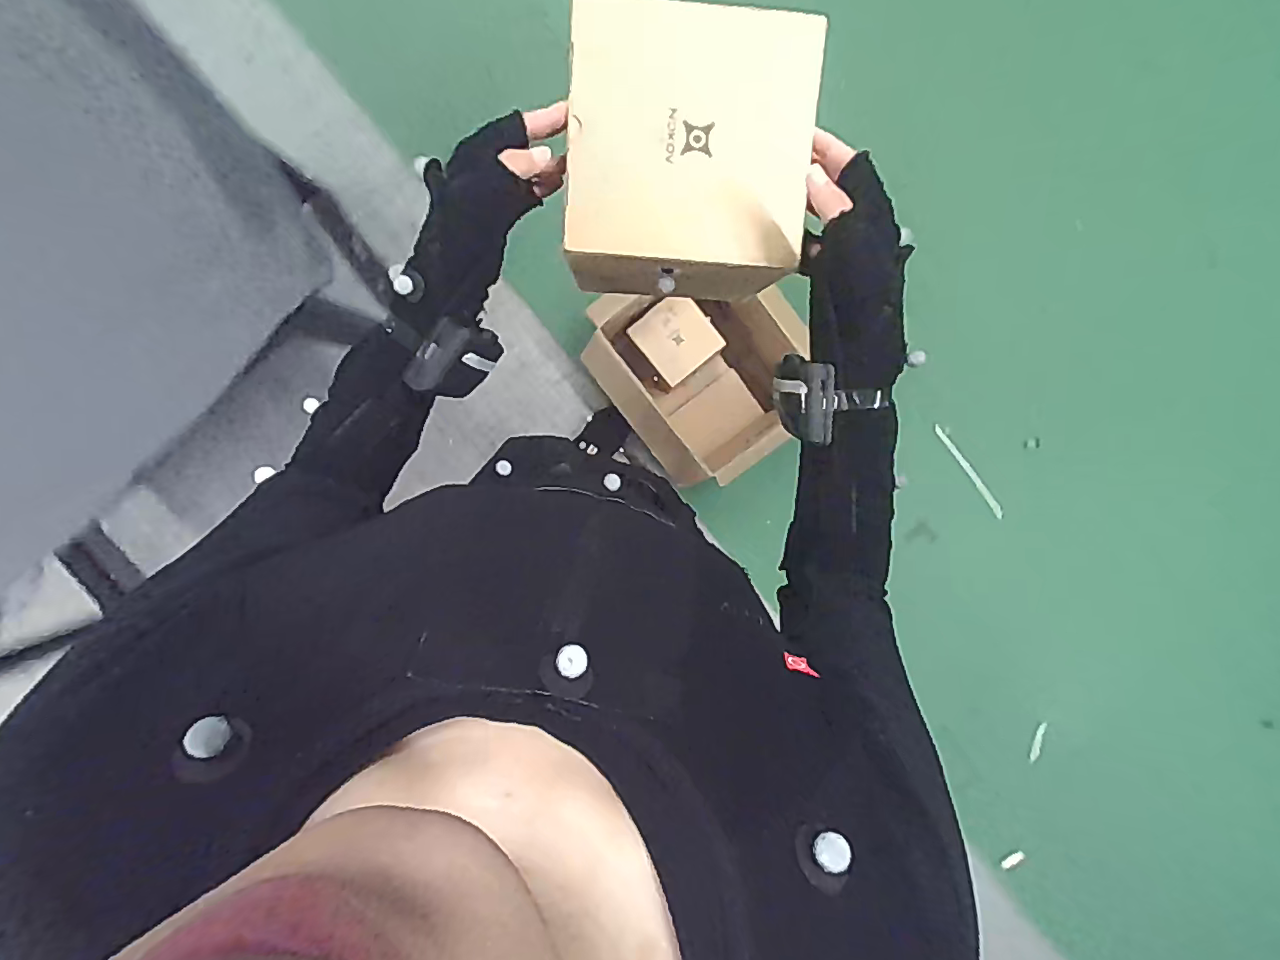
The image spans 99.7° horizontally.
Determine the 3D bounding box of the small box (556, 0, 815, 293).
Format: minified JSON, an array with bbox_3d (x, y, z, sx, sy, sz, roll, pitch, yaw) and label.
[{"bbox_3d":[0.027,-0.257,0.457,0.179,0.176,0.168,2,101,-2],"label":"small box"}]
